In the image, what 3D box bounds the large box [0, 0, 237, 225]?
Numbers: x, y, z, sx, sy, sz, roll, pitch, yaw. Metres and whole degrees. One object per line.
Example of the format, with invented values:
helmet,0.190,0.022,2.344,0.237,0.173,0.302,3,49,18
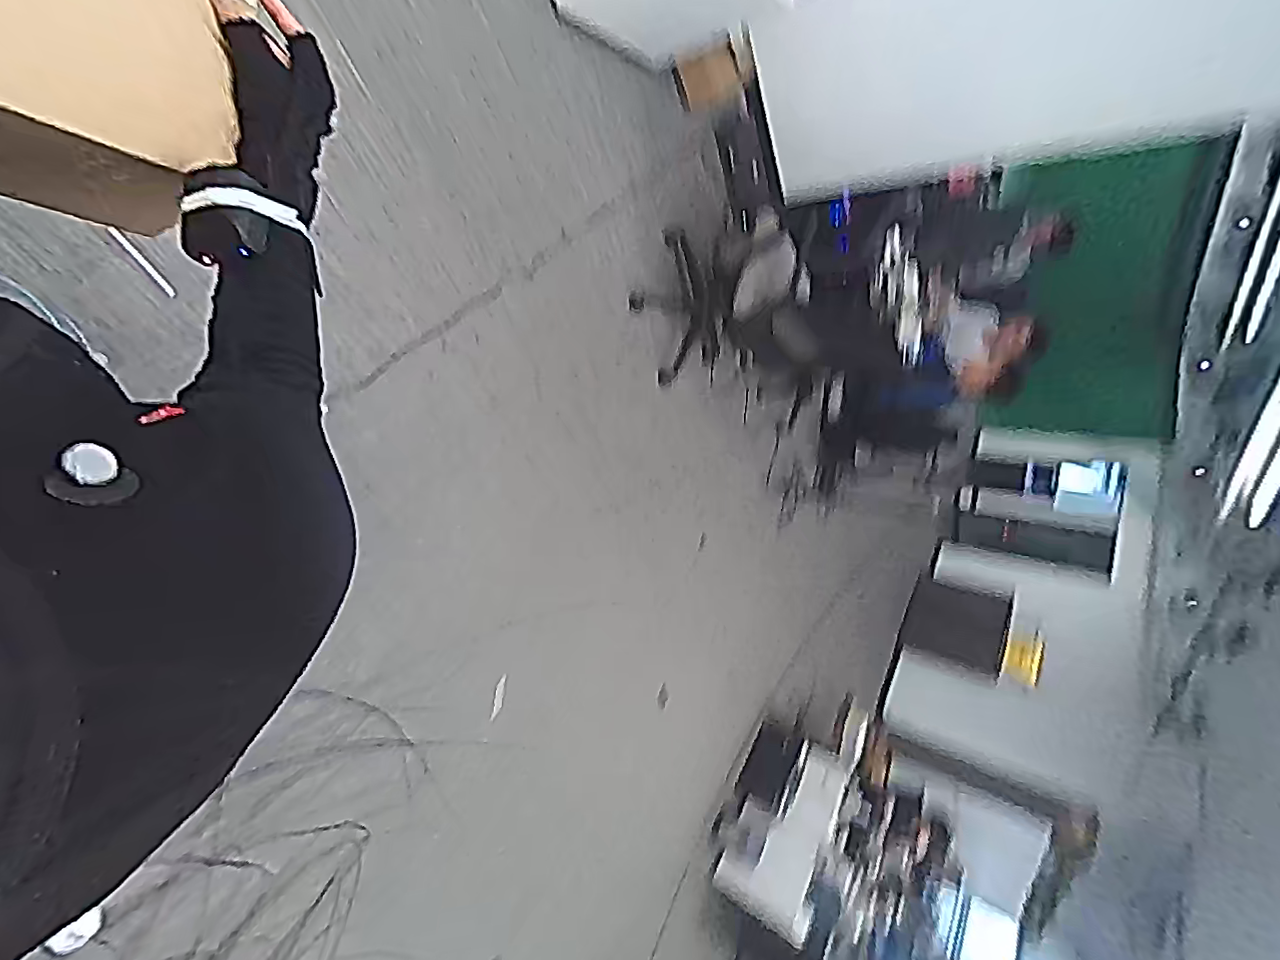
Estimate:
large box,-0.568,-0.422,0.376,0.408,0.320,0.320,0,99,-52
